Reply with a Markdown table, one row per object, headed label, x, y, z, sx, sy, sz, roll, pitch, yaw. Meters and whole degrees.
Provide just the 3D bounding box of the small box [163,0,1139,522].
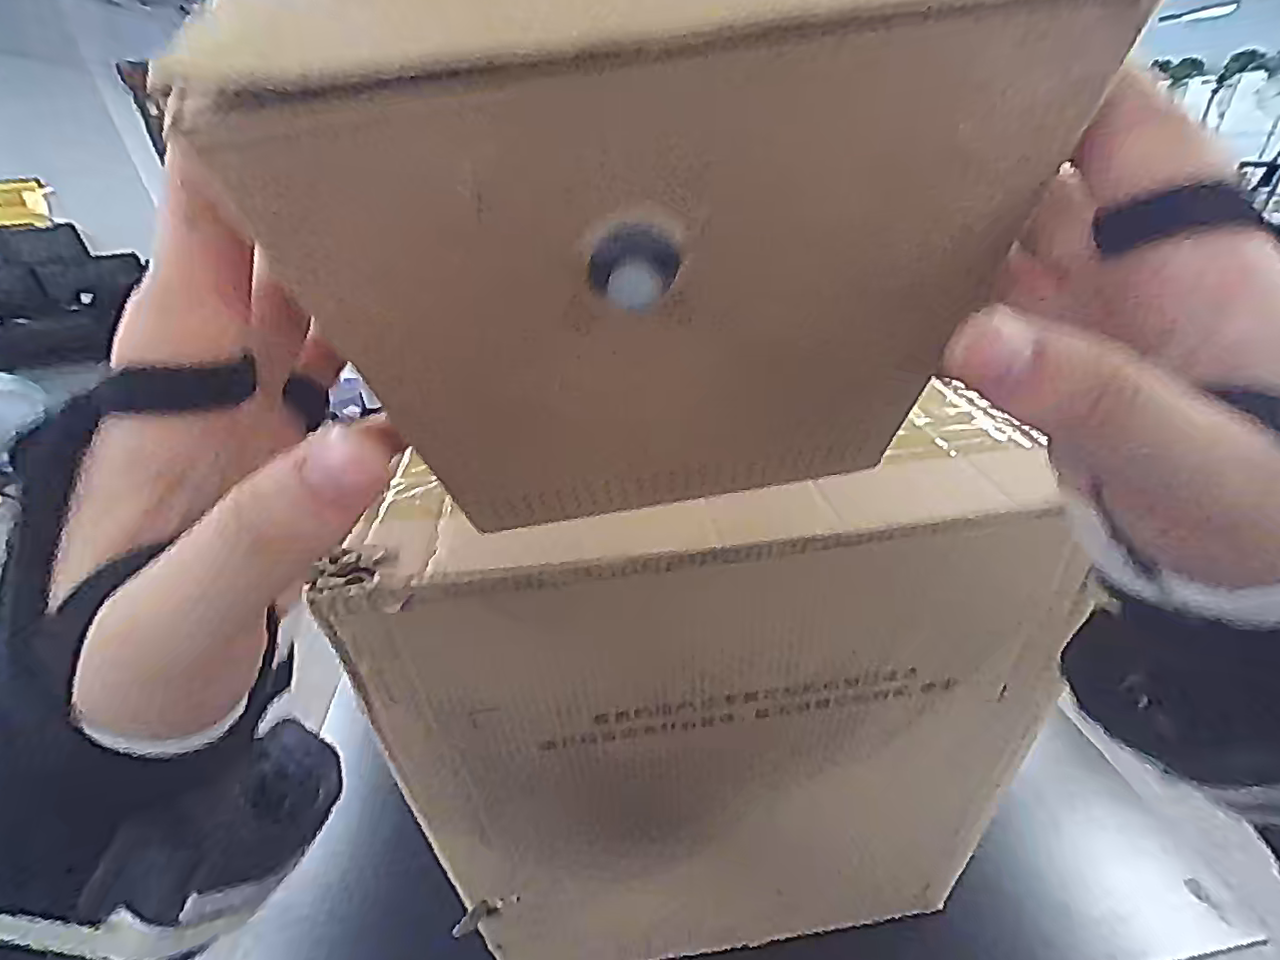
| label | x | y | z | sx | sy | sz | roll | pitch | yaw |
| --- | --- | --- | --- | --- | --- | --- | --- | --- | --- |
| small box | -0.001 | -0.097 | 0.200 | 0.179 | 0.176 | 0.168 | -9 | 61 | -1 |
